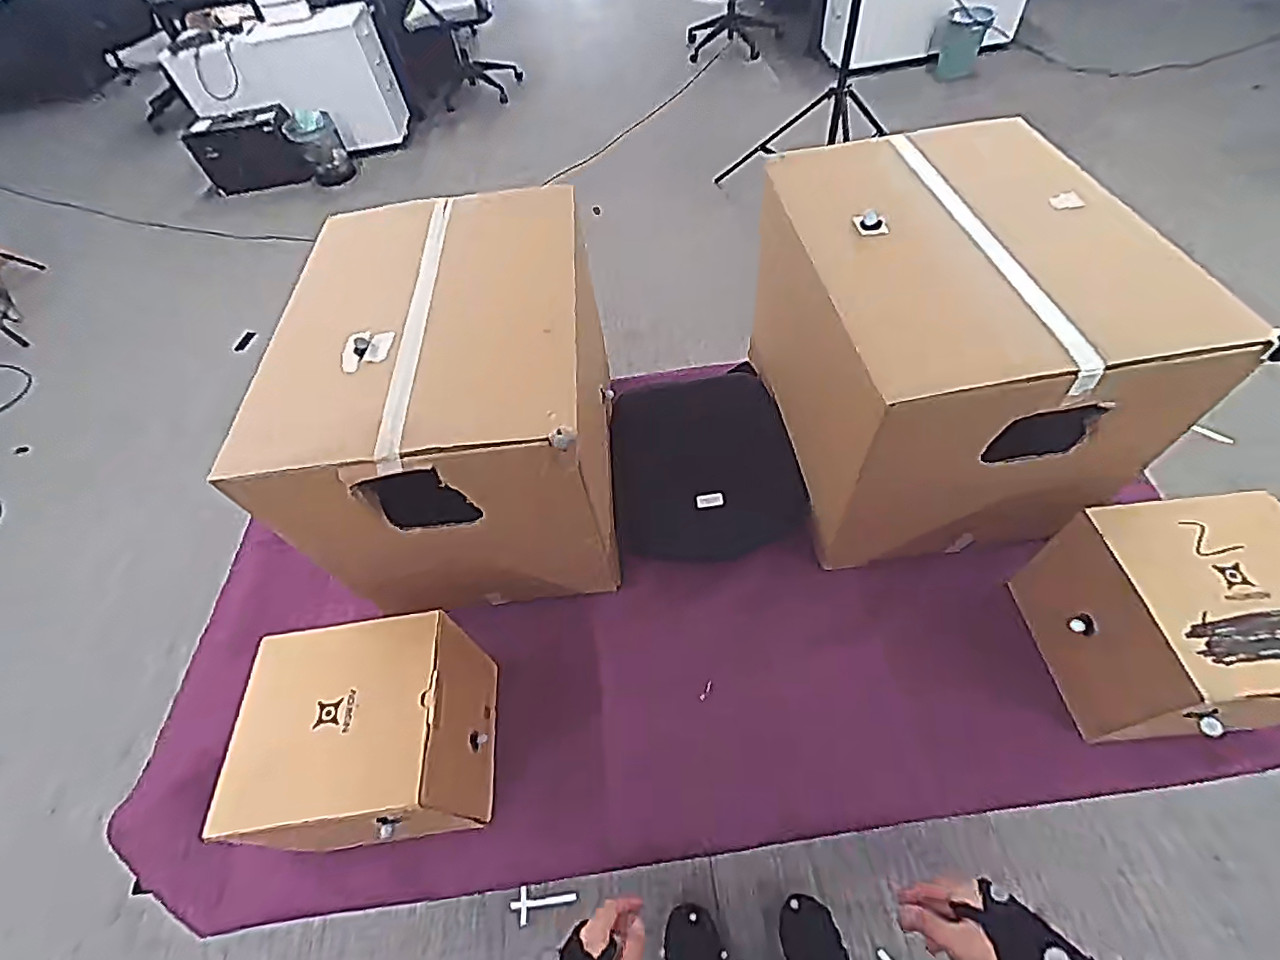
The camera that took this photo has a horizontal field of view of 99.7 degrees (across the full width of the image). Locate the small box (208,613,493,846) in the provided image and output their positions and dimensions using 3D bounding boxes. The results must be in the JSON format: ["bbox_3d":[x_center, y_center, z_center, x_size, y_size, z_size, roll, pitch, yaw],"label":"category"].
[{"bbox_3d":[-0.262,0.254,0.542,0.179,0.176,0.168,-9,53,0],"label":"small box"}]

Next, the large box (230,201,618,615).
[{"bbox_3d":[-0.208,-0.084,0.689,0.320,0.320,0.408,-8,57,2],"label":"large box"}]
